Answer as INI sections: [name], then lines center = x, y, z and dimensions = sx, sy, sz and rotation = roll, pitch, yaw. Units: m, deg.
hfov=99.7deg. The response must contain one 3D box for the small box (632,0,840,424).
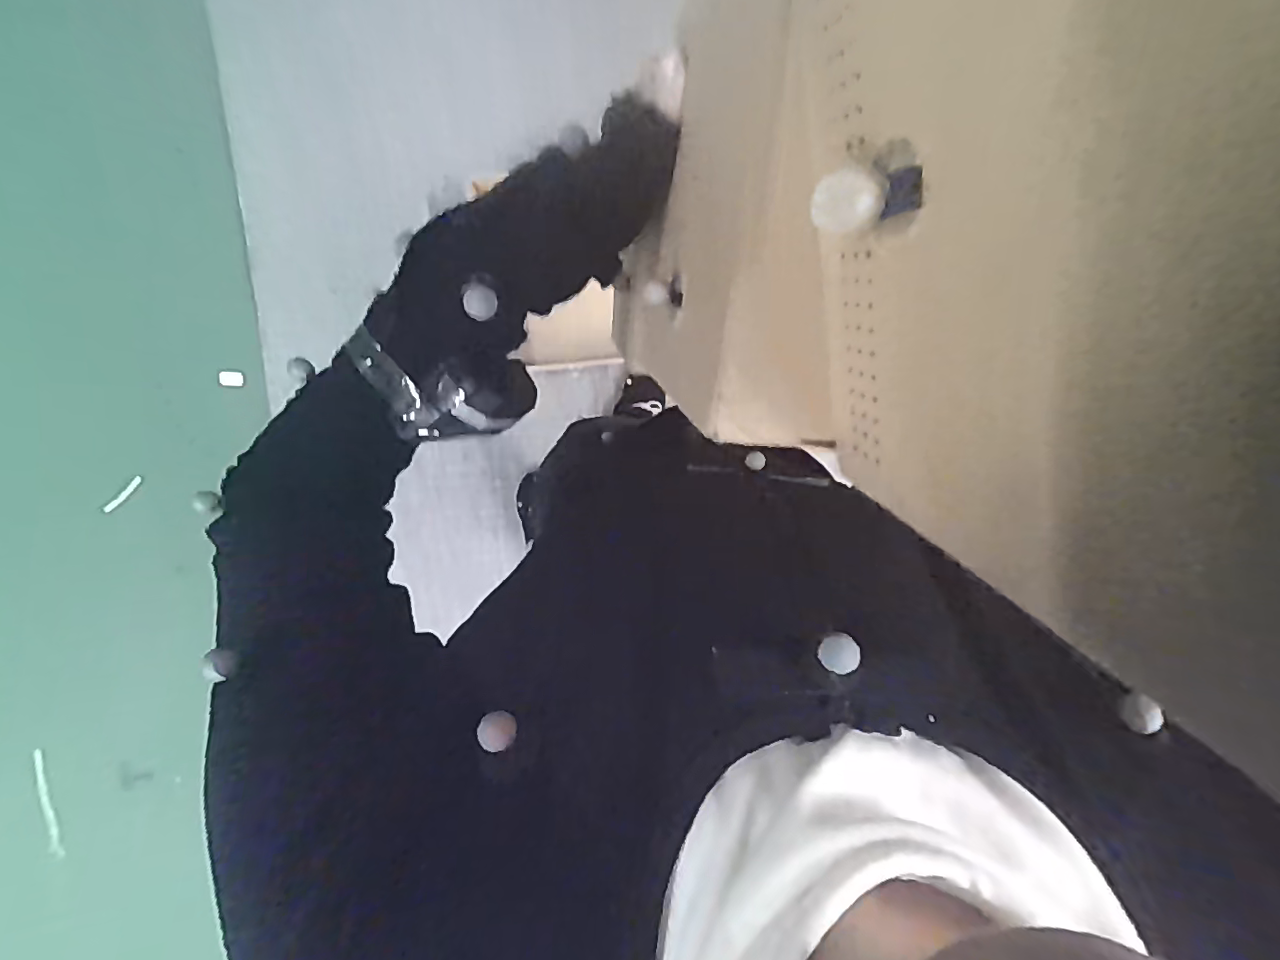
[small box]
center = 0.091, -0.130, 0.235
dimensions = 0.168, 0.176, 0.179
rotation = 2, 111, -10
